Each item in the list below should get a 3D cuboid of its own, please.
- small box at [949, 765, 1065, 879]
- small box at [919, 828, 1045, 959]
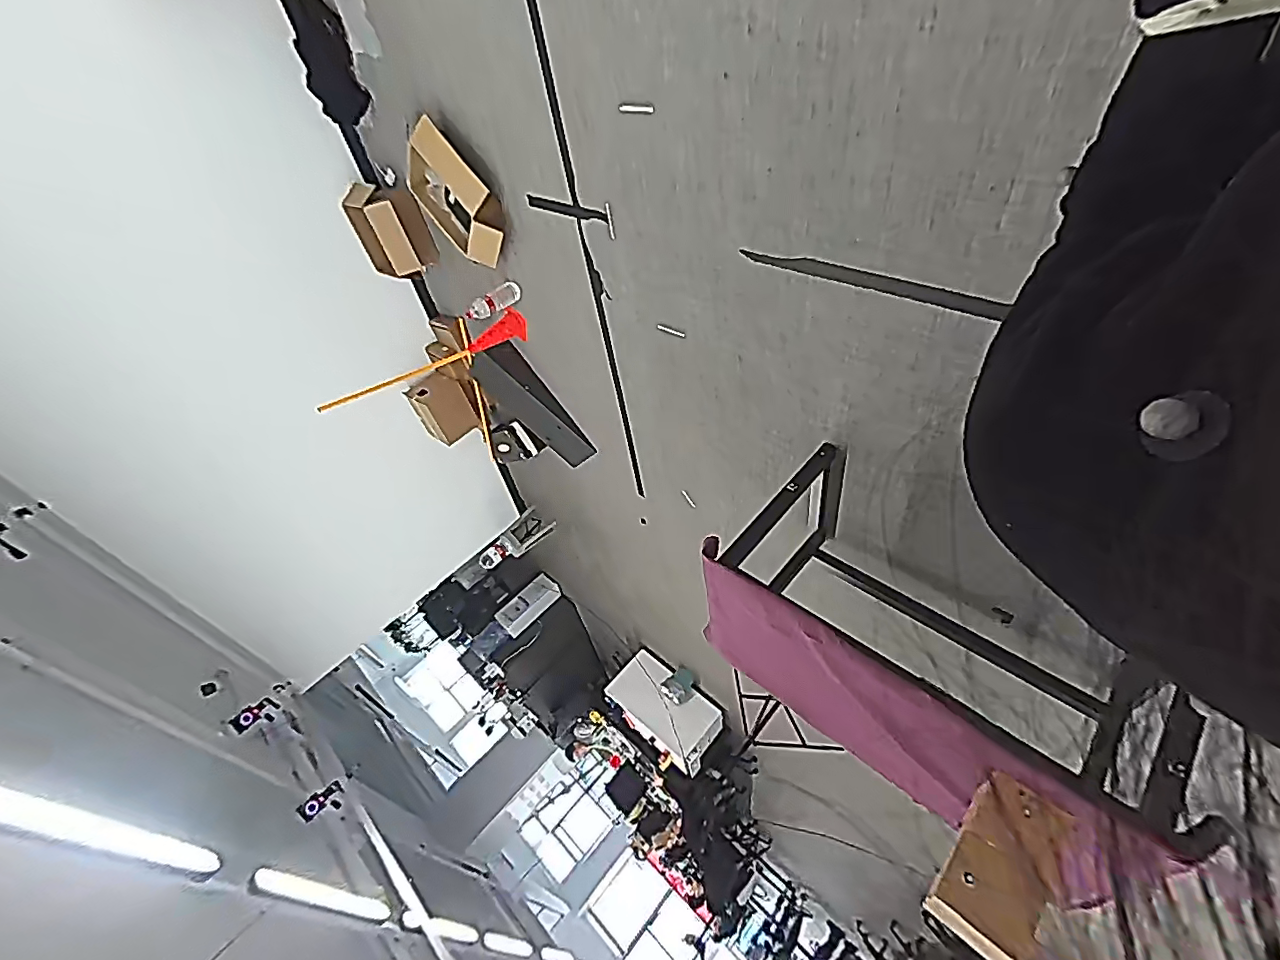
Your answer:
[{"bbox_3d":[0.871,0.824,1.287,0.168,0.176,0.179,28,147,35],"label":"small box"},{"bbox_3d":[0.764,0.923,1.217,0.179,0.176,0.168,26,149,36],"label":"small box"}]
